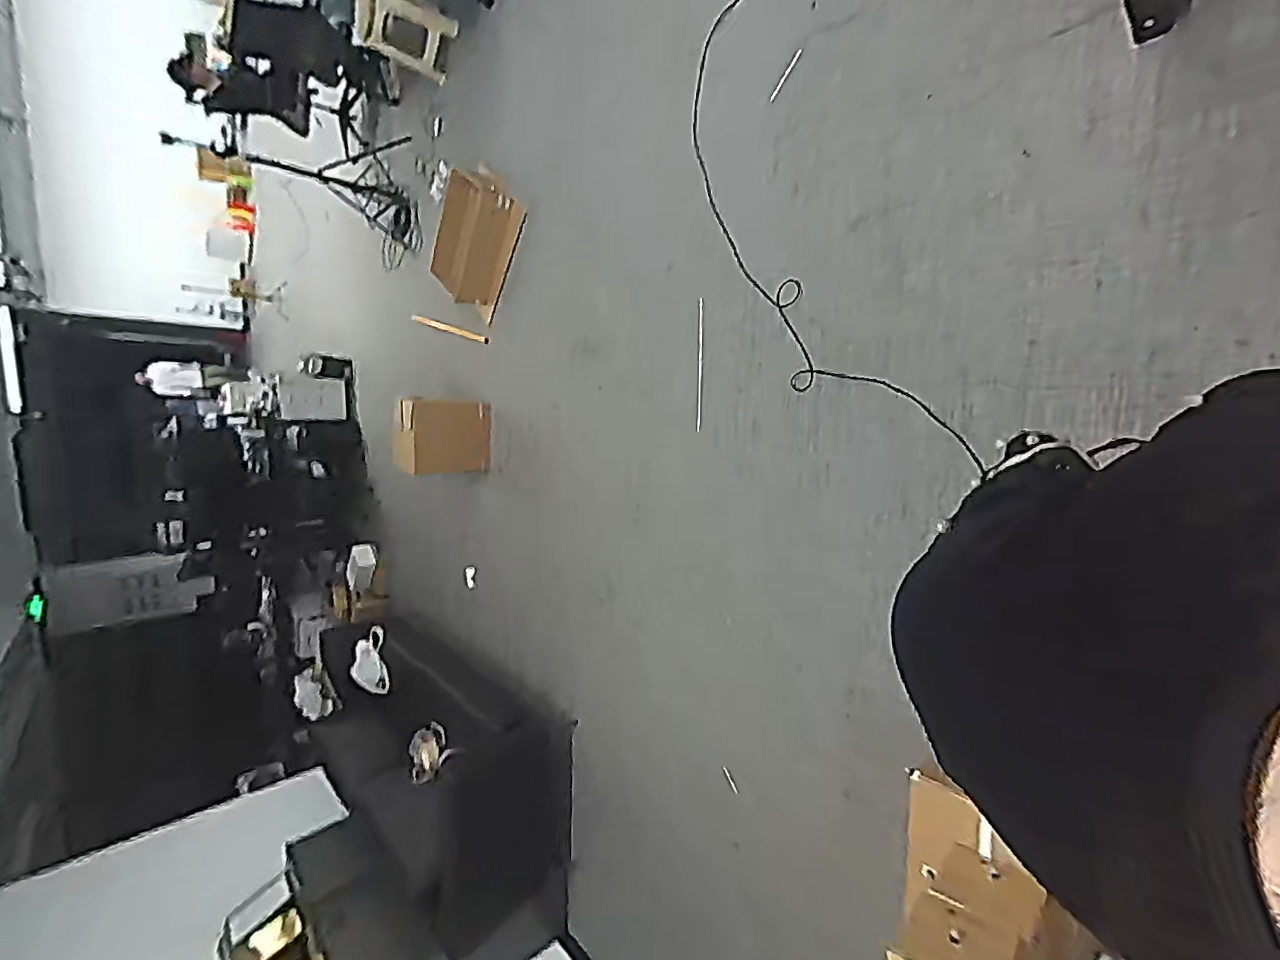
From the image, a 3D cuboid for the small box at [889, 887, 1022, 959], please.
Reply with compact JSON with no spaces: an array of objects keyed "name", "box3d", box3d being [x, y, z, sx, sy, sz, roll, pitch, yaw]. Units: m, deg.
[{"name":"small box","box3d":[0.558,0.873,0.948,0.168,0.176,0.179,-5,90,46]}]
